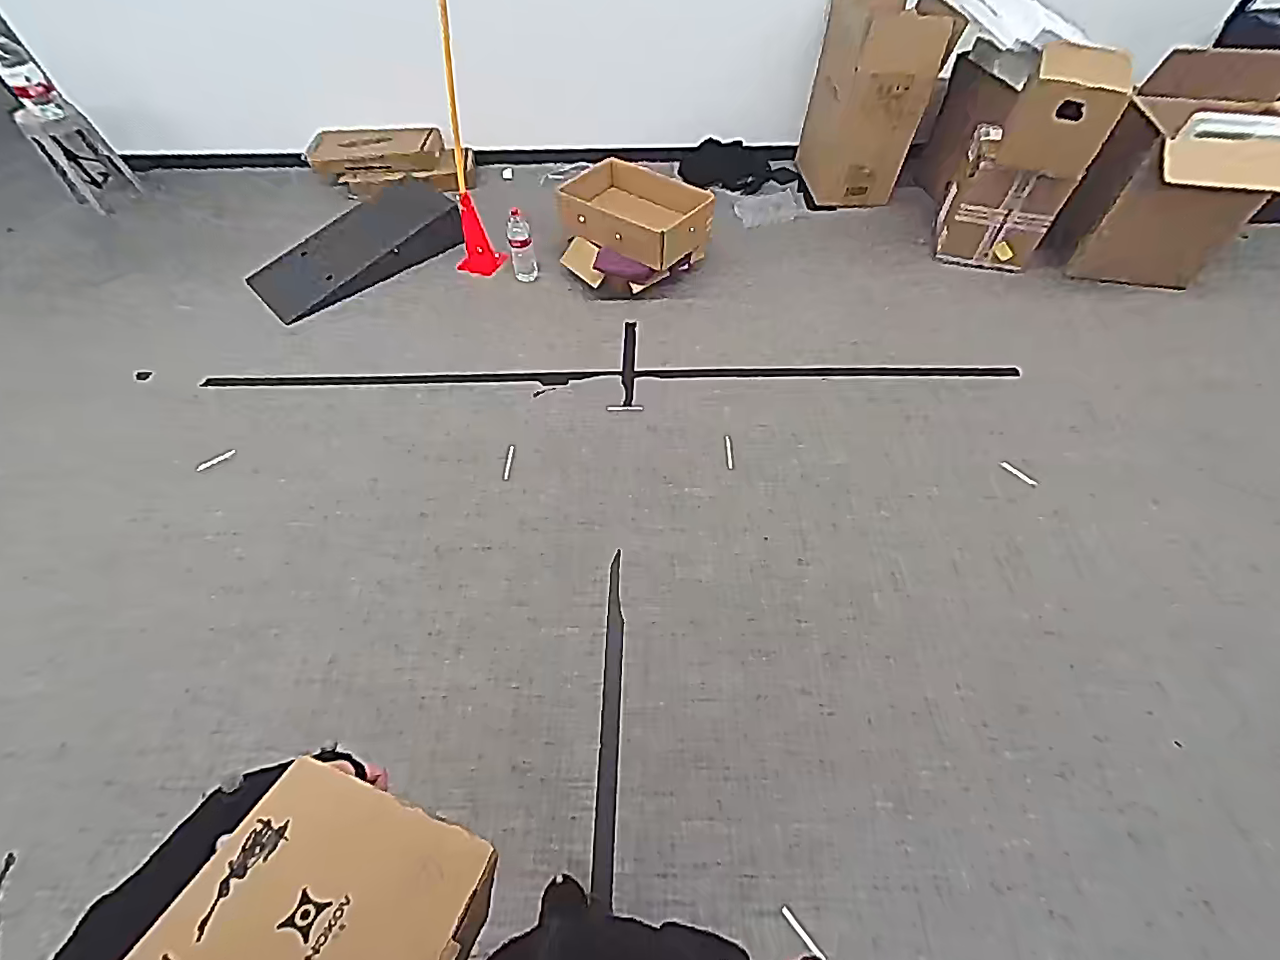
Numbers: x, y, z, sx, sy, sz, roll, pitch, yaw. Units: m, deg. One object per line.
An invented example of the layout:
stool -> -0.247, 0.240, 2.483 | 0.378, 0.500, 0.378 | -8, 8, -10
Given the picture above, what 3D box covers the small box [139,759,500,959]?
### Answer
small box -> -0.227, 0.356, 0.406 | 0.179, 0.176, 0.168 | 21, 36, 6
